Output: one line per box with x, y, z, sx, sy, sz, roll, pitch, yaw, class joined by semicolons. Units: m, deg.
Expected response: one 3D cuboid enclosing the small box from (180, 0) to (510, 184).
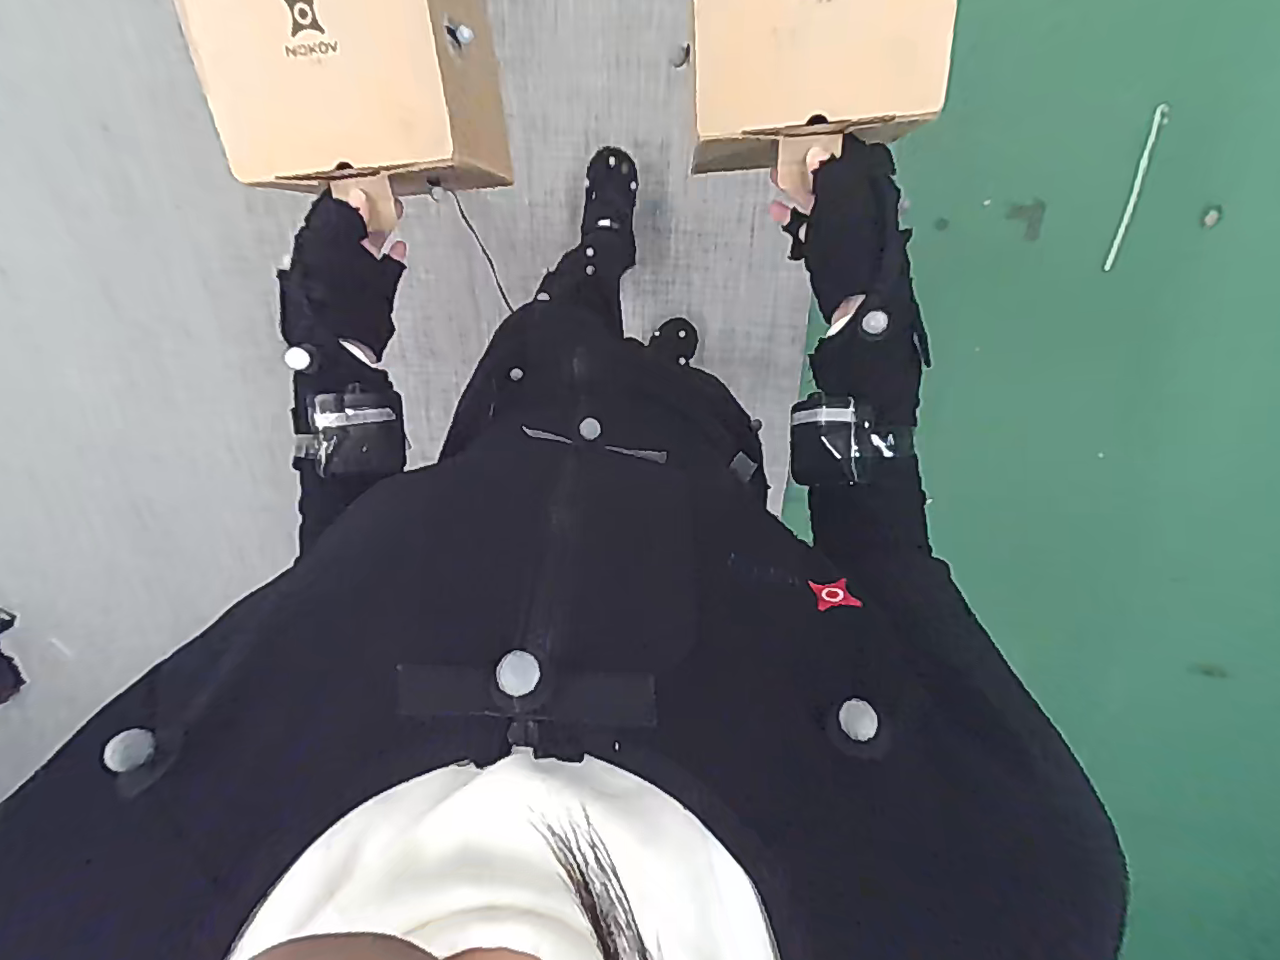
-0.212;-0.339;0.422;0.168;0.176;0.179;-5;113;4;small box

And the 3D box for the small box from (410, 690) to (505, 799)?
-0.449;0.647;1.341;0.179;0.176;0.168;8;108;0;small box
